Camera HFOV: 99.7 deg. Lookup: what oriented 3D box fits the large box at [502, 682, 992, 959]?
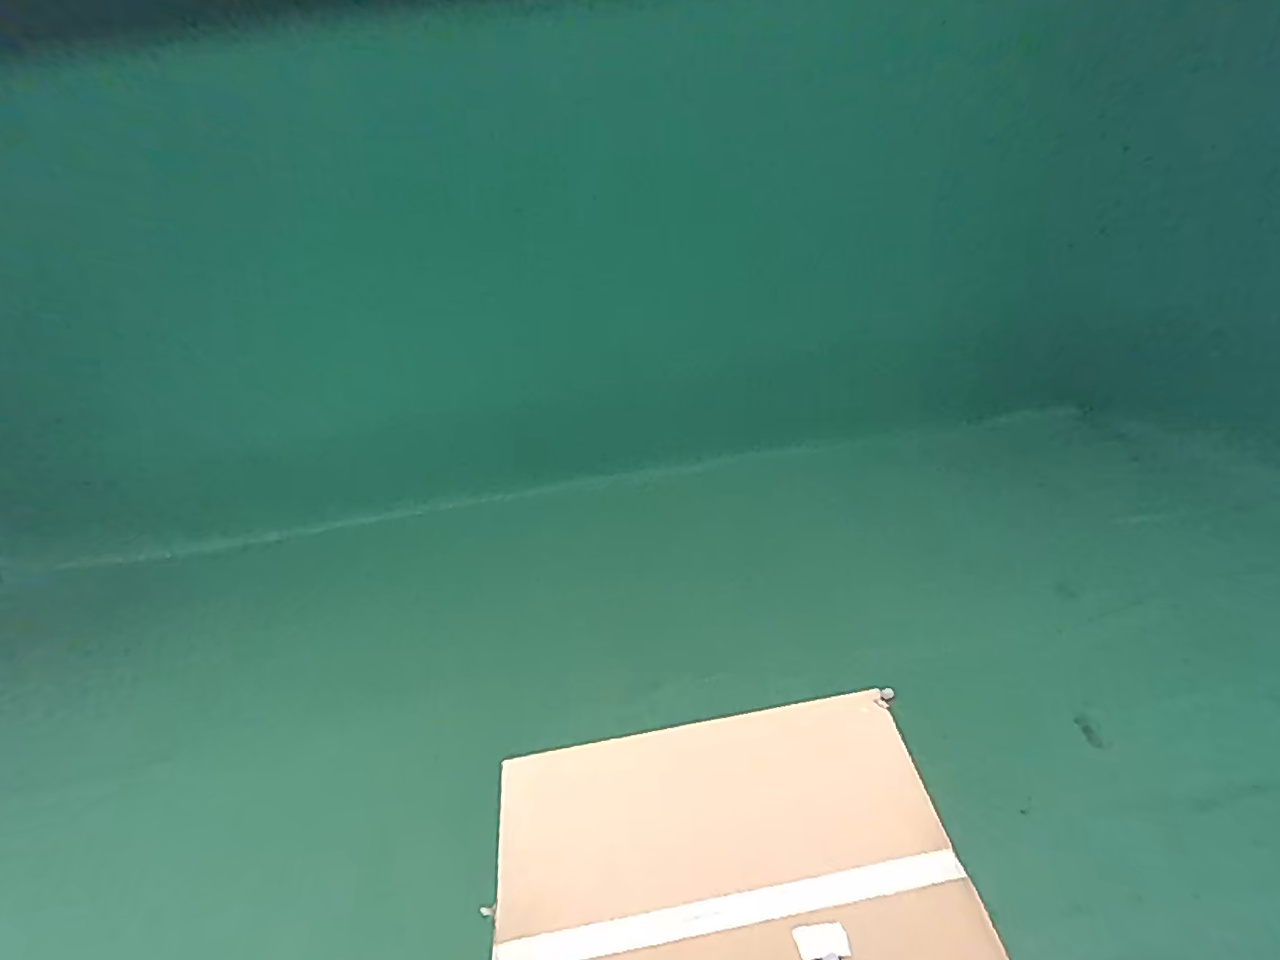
[{"bbox_3d":[0.087,0.466,0.584,0.408,0.320,0.320,-10,47,-3],"label":"large box"}]
